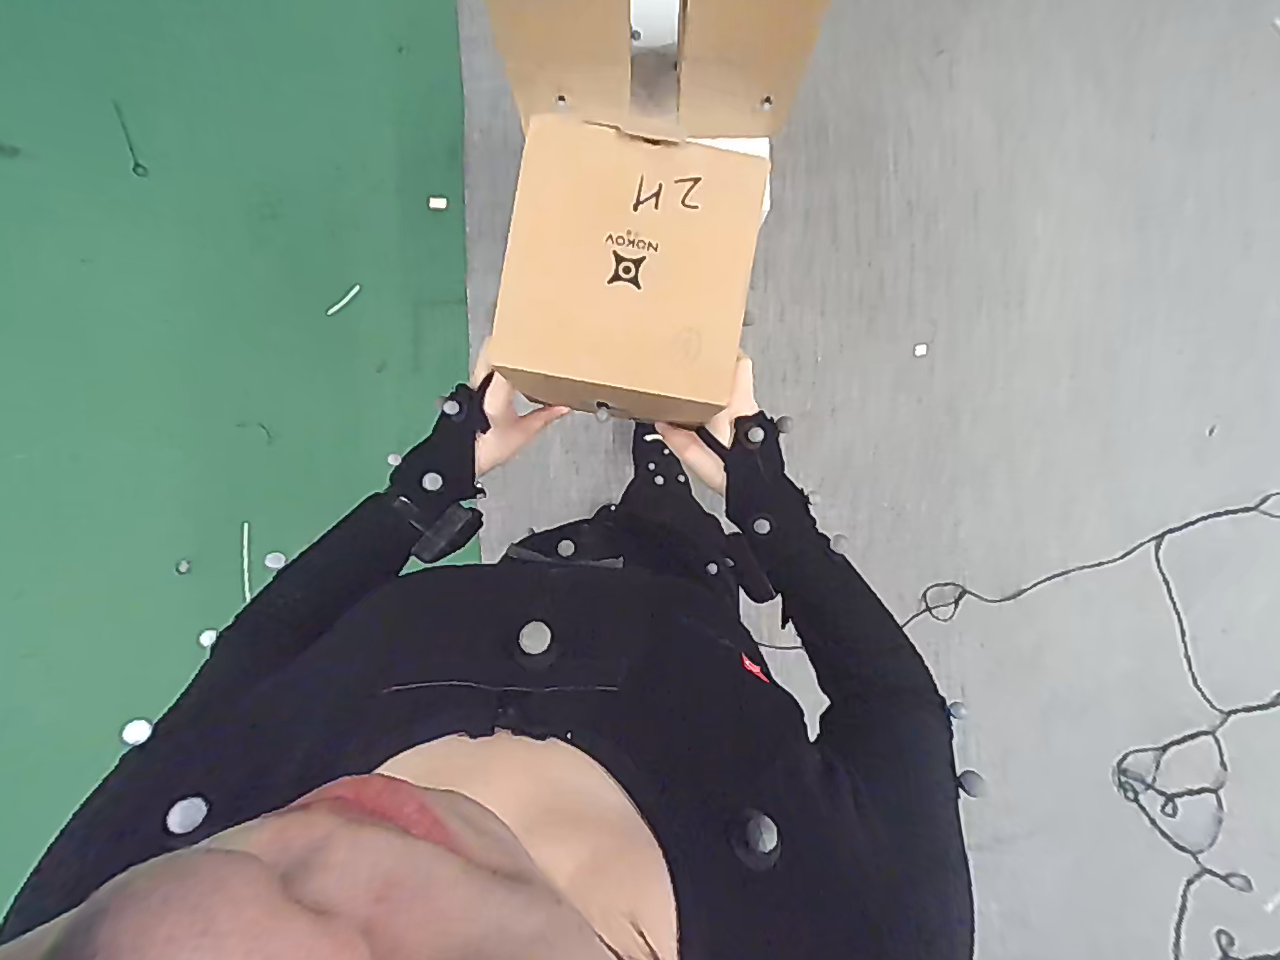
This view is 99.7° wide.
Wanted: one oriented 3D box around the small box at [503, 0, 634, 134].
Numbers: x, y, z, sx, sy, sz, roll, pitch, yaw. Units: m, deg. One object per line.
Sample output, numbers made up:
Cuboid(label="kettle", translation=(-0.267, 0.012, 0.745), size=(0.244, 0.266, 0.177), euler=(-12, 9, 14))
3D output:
Cuboid(label="small box", translation=(-0.099, -0.642, 0.810), size=(0.179, 0.176, 0.168), euler=(0, 92, -1))

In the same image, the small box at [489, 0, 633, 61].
Cuboid(label="small box", translation=(-0.097, -0.643, 0.645), size=(0.179, 0.176, 0.168), euler=(0, 91, -2))

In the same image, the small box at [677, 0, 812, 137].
Cuboid(label="small box", translation=(0.147, -0.648, 0.813), size=(0.179, 0.176, 0.168), euler=(-1, 90, 2))

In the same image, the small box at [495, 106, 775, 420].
Cuboid(label="small box", translation=(-0.006, -0.151, 0.443), size=(0.168, 0.176, 0.179), euler=(10, 90, -3))
